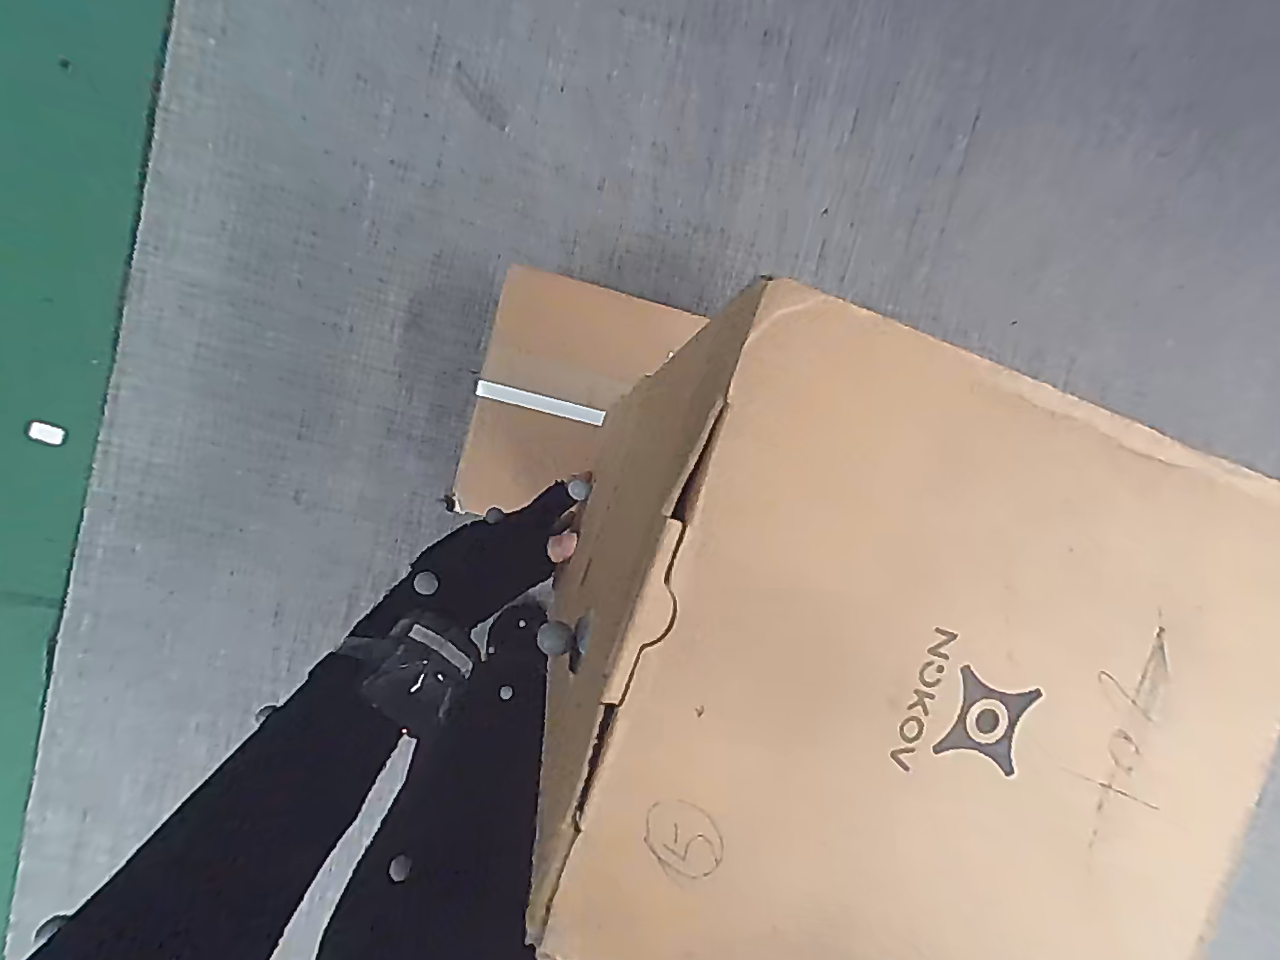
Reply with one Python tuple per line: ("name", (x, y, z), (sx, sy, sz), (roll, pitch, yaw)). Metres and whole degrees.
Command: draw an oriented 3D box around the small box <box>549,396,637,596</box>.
("small box", (0.020, 0.032, 0.541), (0.168, 0.176, 0.179), (19, 91, -6))
